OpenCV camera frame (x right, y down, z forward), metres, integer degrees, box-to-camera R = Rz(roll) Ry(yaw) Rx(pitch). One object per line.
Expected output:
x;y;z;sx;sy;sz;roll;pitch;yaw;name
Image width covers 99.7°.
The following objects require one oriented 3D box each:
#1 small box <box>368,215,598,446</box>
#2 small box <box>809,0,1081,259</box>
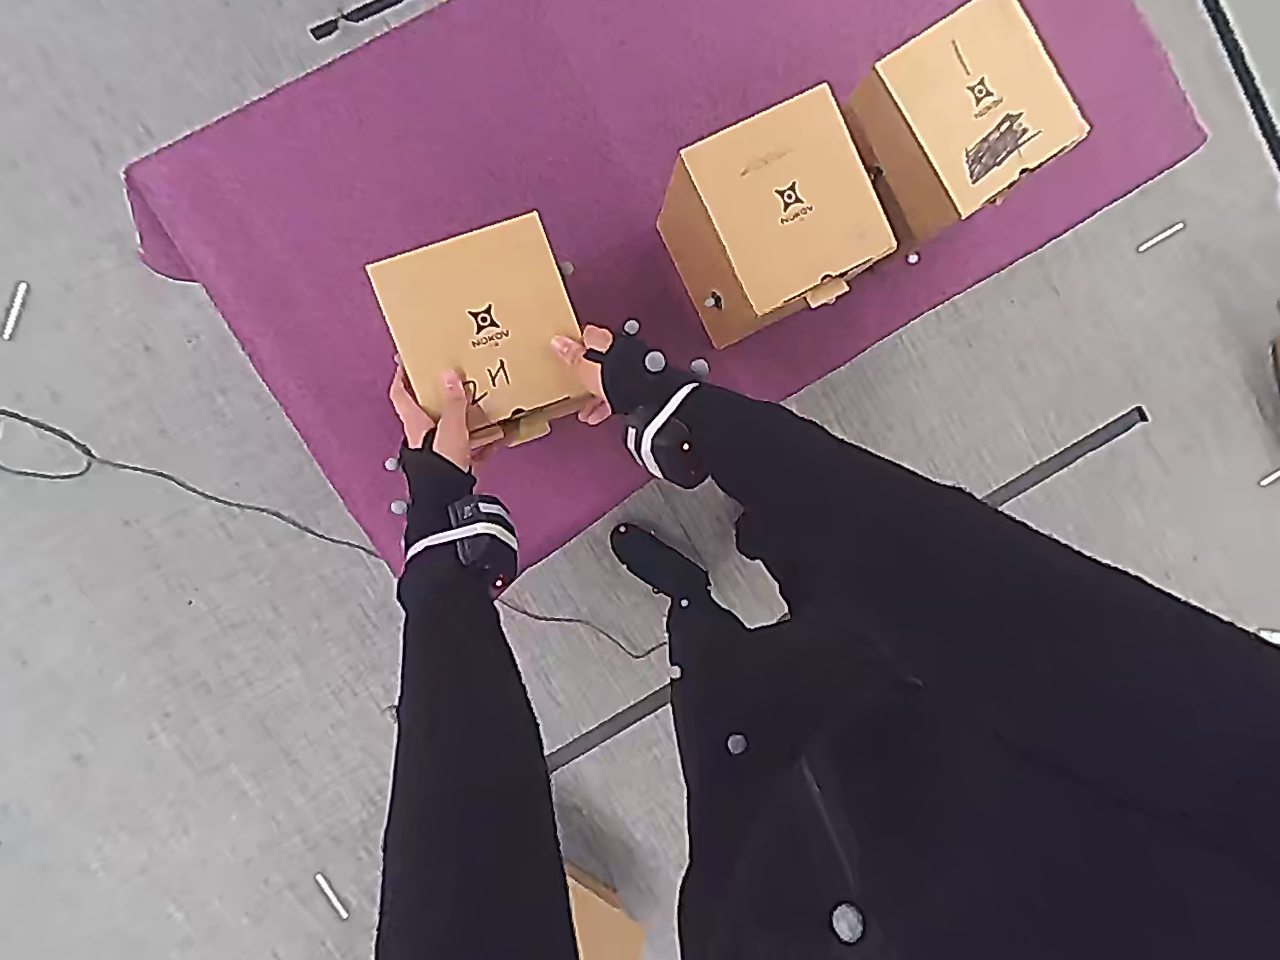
-0.152;-0.142;0.579;0.168;0.176;0.179;-20;95;-4;small box
0.328;-0.380;0.617;0.168;0.176;0.179;-34;94;-3;small box
